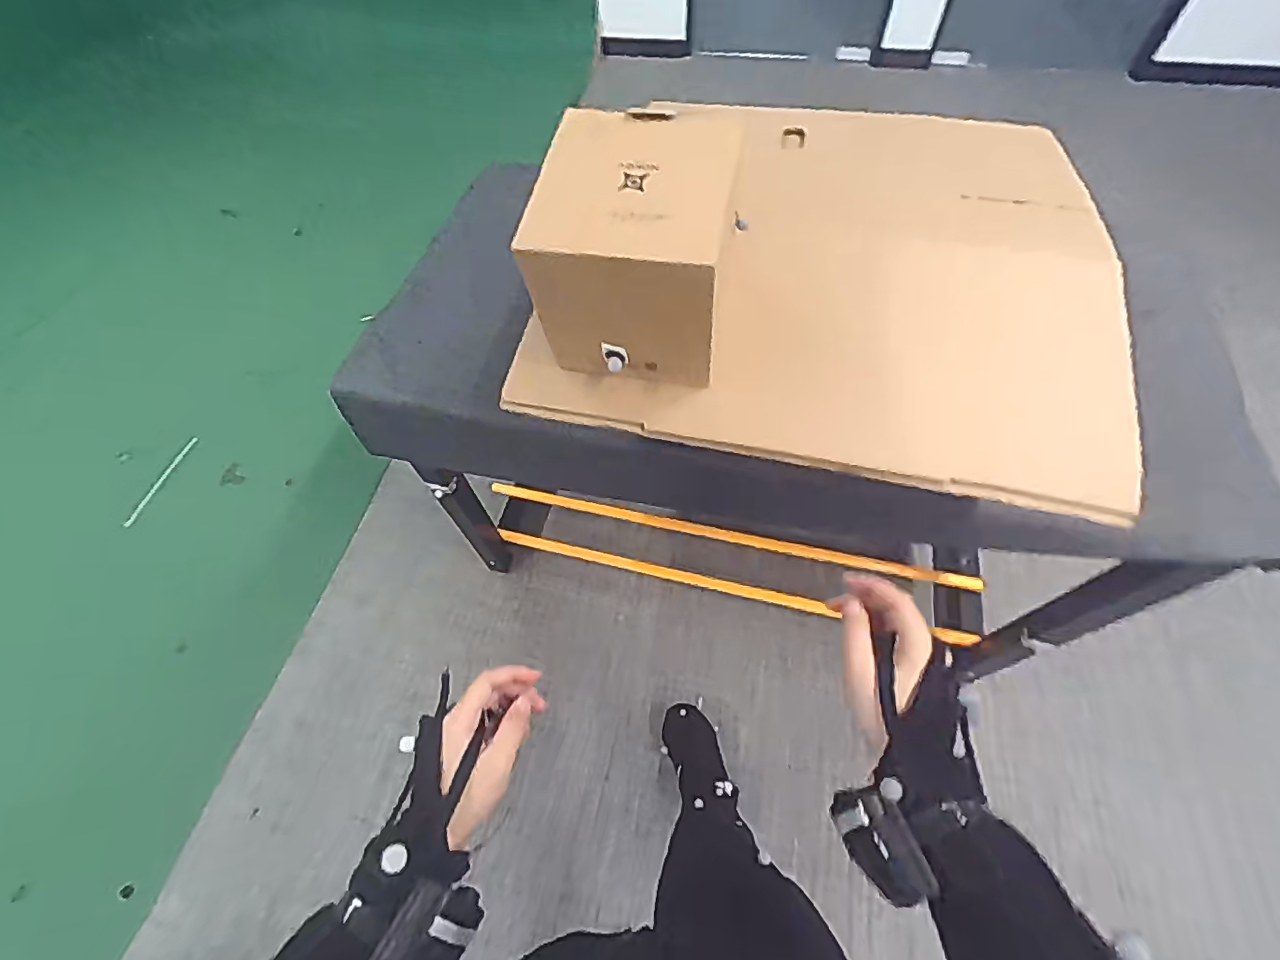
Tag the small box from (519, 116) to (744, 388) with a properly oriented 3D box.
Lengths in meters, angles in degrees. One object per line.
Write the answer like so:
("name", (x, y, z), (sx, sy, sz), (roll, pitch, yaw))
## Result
("small box", (0.003, -0.215, 0.528), (0.168, 0.176, 0.179), (8, 68, 10))
